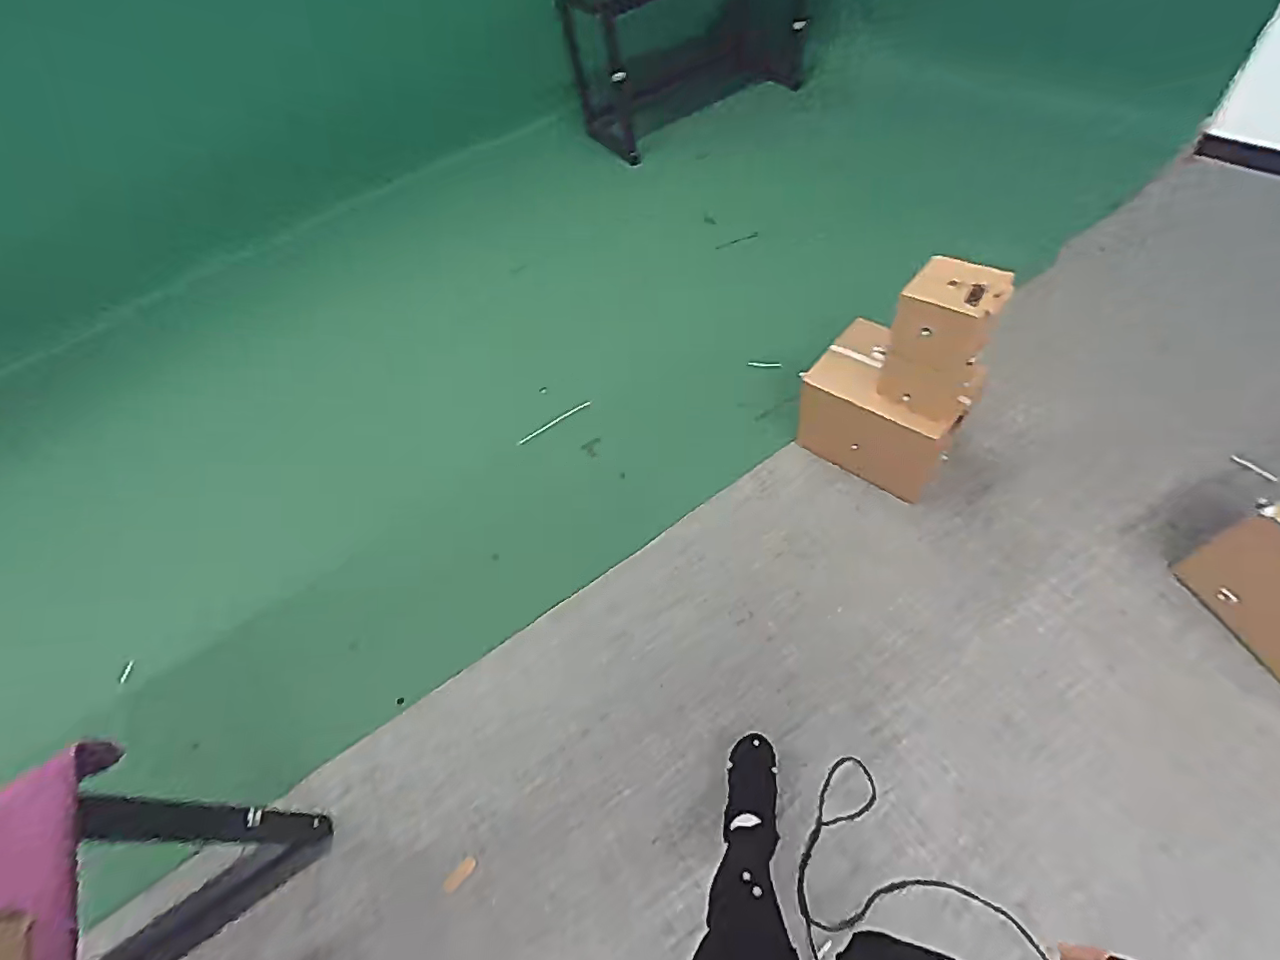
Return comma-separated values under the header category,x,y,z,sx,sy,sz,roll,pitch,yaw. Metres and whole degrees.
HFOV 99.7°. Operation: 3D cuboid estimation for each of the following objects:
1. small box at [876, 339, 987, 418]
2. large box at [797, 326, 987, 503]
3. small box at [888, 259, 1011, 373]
category,x,y,z,sx,sy,sz,roll,pitch,yaw
small box,0.741,-0.285,1.392,0.168,0.176,0.179,-41,57,-17
large box,0.735,-0.199,1.637,0.408,0.320,0.320,33,67,31
small box,0.710,-0.377,1.259,0.179,0.176,0.168,33,68,31
